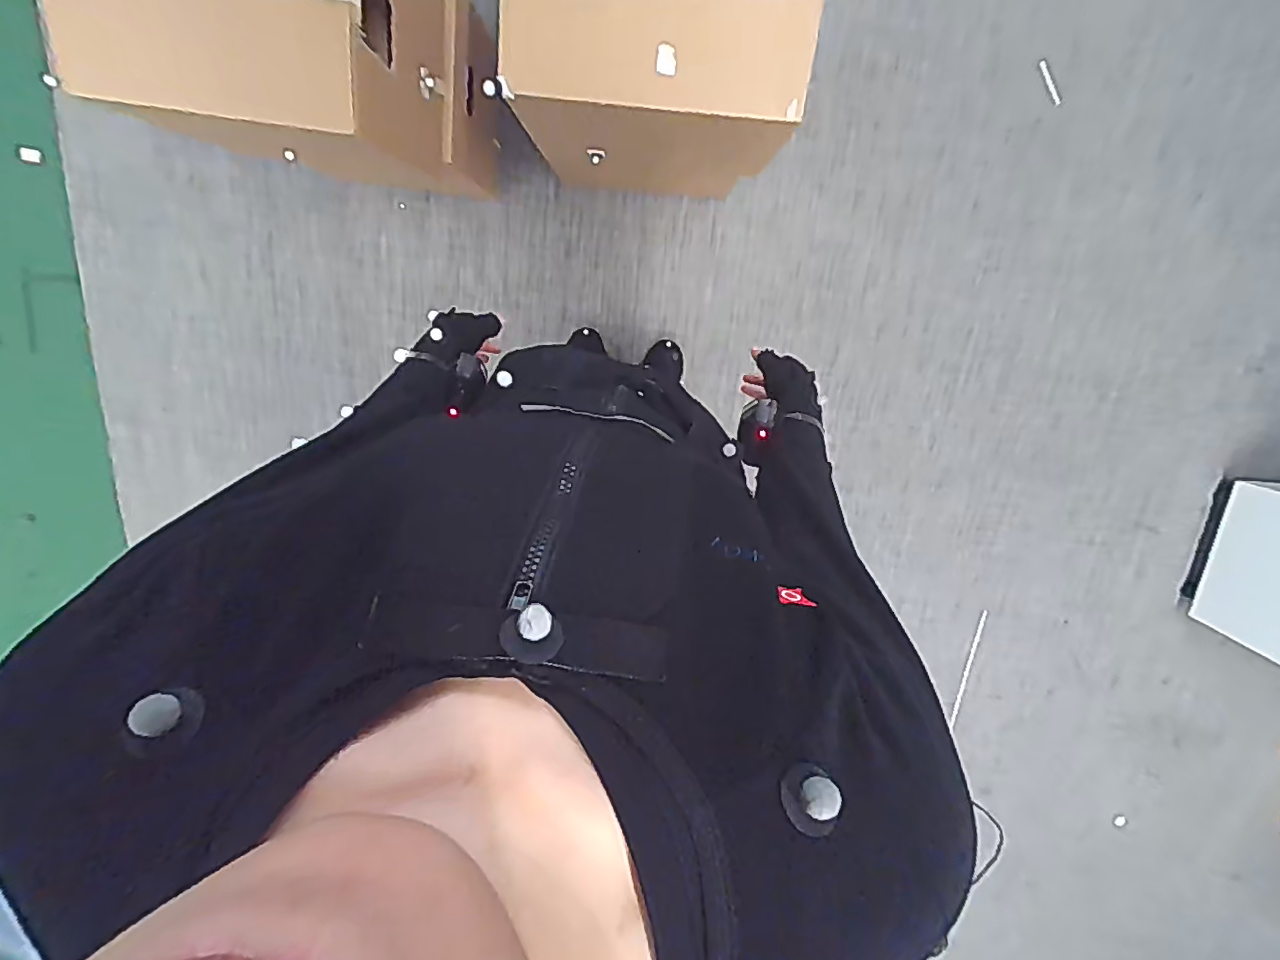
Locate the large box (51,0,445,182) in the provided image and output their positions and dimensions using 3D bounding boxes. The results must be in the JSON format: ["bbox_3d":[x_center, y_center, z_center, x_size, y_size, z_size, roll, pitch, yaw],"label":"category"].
[{"bbox_3d":[-0.551,-0.677,0.829,0.408,0.320,0.320,9,108,1],"label":"large box"}]
